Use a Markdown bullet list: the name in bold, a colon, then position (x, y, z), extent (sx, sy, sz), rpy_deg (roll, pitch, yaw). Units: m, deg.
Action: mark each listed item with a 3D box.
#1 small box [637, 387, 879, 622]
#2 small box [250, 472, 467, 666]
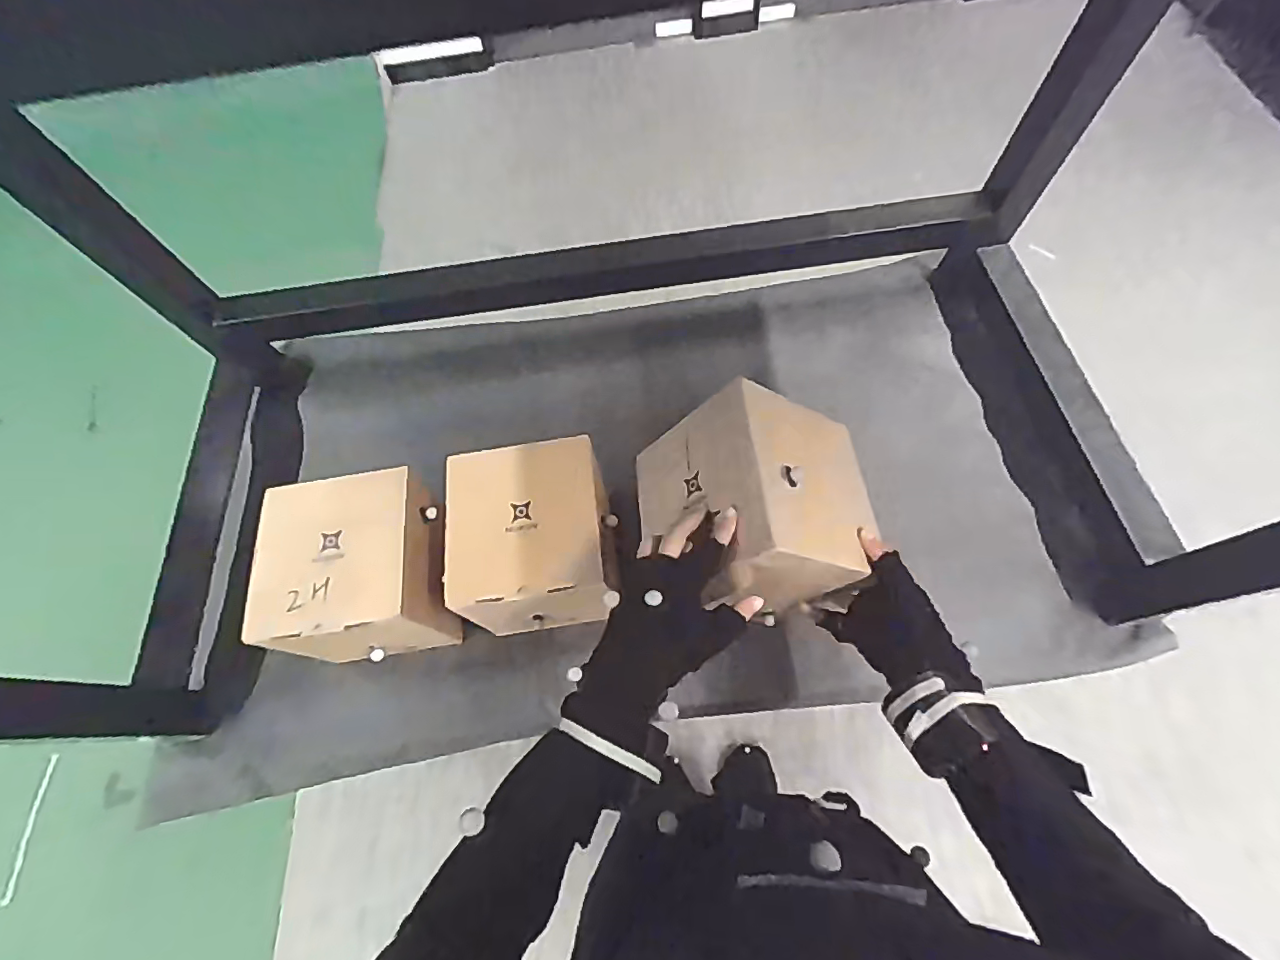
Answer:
- **small box**: position (0.116, 0.040, 0.562), extent (0.176, 0.168, 0.179), rpy_deg (20, 51, -34)
- **small box**: position (-0.319, 0.114, 0.654), extent (0.168, 0.176, 0.179), rpy_deg (-9, 64, 0)
